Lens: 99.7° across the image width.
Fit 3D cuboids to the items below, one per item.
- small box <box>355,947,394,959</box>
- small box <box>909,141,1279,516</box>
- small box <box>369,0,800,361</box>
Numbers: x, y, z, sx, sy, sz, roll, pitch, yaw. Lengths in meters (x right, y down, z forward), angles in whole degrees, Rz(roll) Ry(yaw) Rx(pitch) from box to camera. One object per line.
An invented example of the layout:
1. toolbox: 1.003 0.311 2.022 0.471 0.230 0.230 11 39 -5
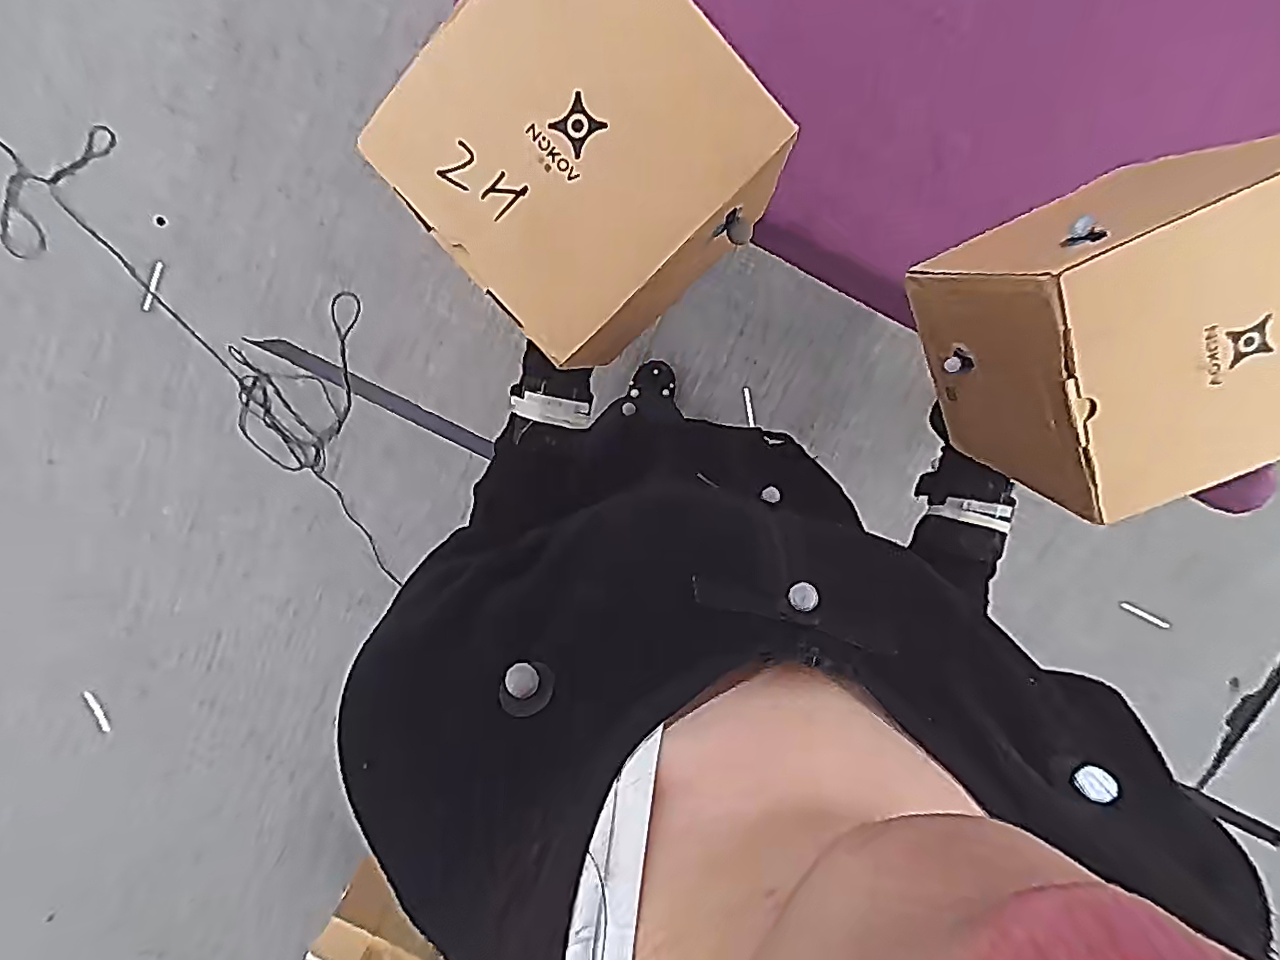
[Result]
1. small box: -0.707 1.368 1.391 0.179 0.176 0.168 34 99 -4
2. small box: 0.326 -0.109 0.375 0.179 0.176 0.168 -25 110 9
3. small box: -0.026 -0.200 0.362 0.179 0.176 0.168 -42 95 14
